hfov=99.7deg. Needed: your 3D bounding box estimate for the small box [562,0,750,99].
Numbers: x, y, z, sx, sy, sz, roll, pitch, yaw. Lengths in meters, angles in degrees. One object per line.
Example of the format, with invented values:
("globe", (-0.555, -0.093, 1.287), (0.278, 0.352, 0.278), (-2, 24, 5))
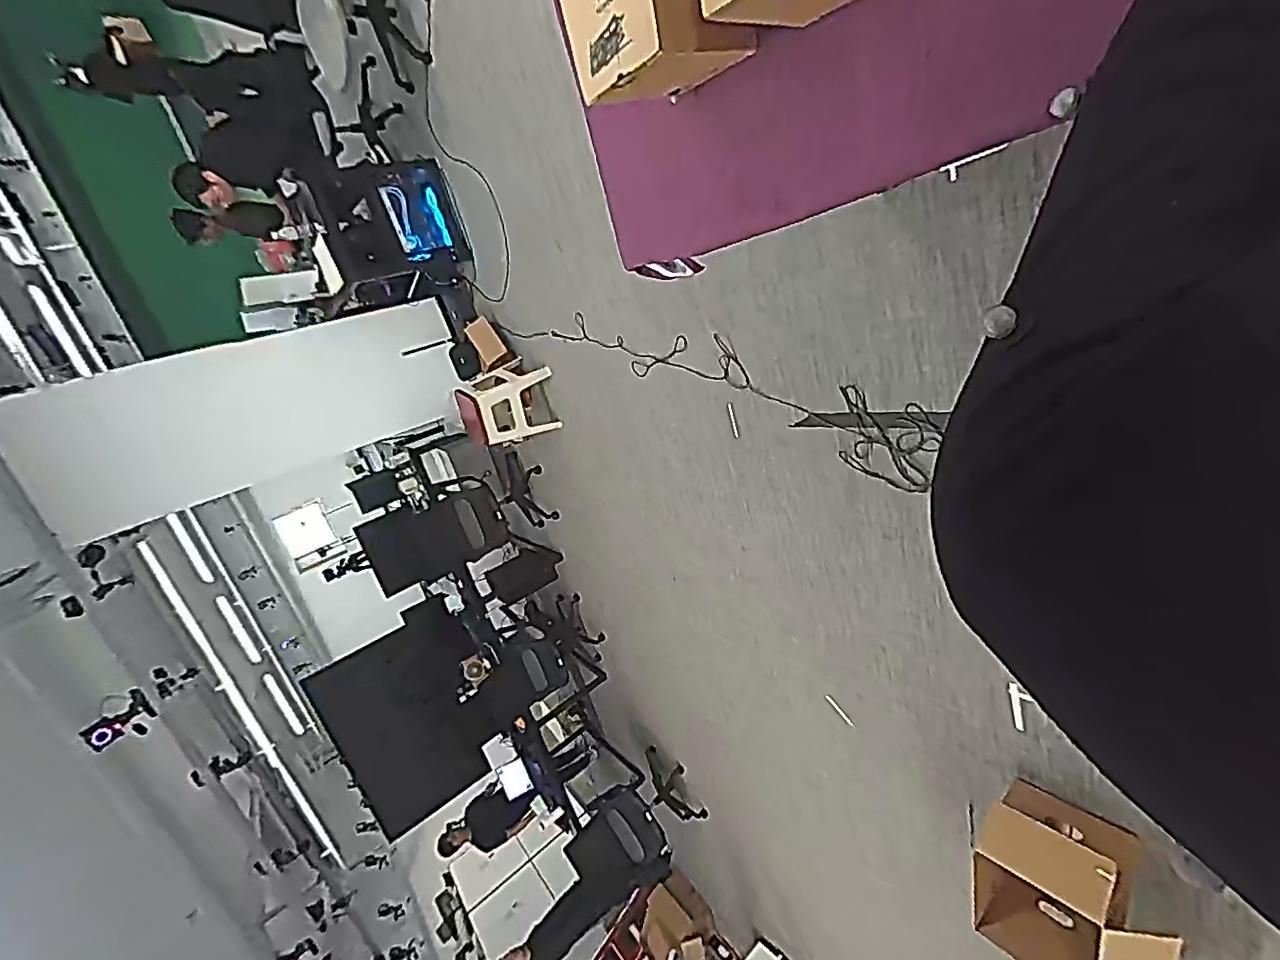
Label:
("small box", (0.018, -0.609, 0.672), (0.168, 0.176, 0.179), (16, 127, 51))
